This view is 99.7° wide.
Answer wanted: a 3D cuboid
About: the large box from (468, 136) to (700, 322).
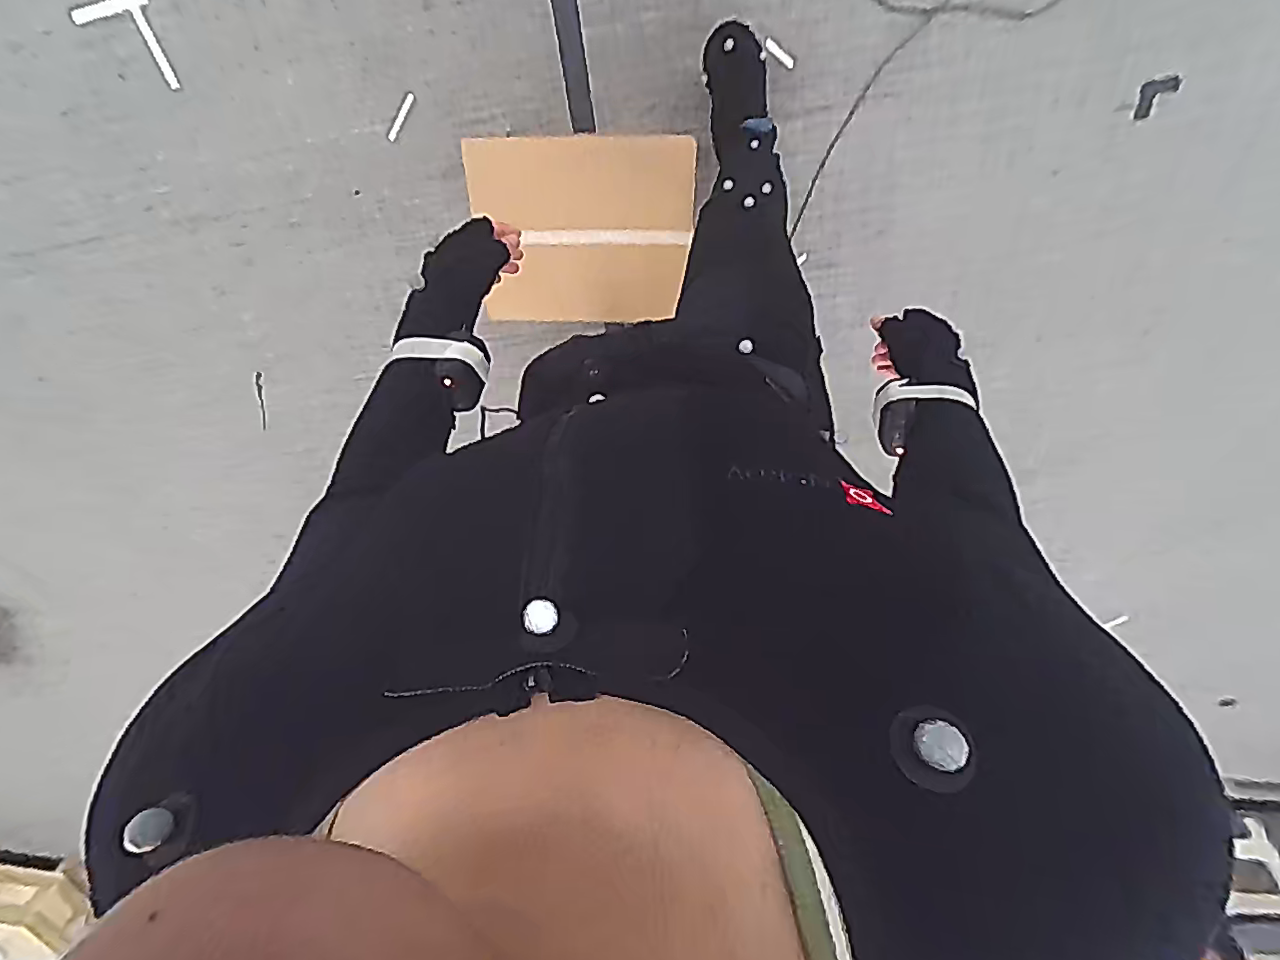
[{"bbox_3d":[-0.088,-0.526,1.118,0.408,0.320,0.320,2,124,3],"label":"large box"}]
